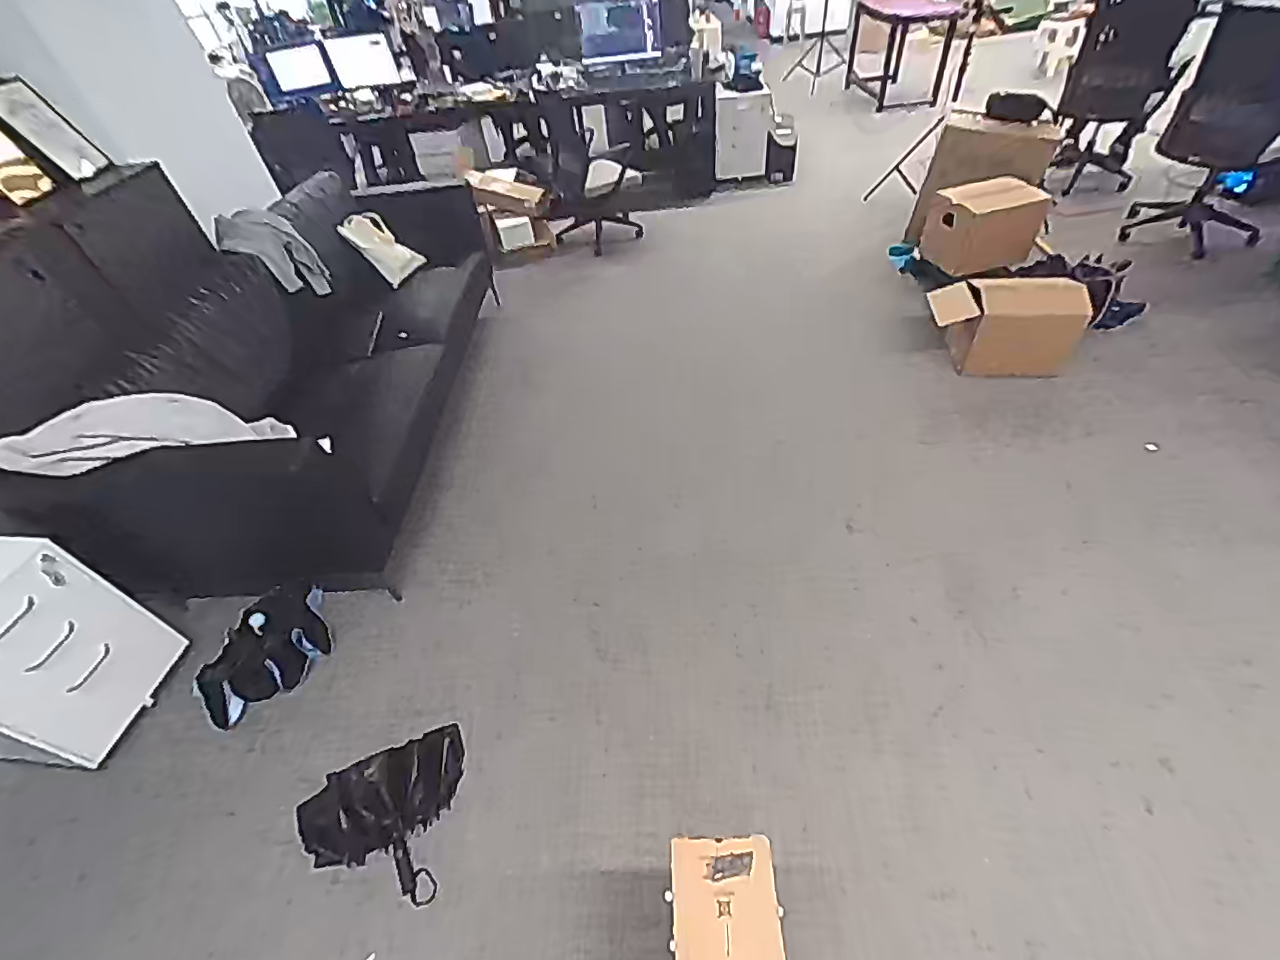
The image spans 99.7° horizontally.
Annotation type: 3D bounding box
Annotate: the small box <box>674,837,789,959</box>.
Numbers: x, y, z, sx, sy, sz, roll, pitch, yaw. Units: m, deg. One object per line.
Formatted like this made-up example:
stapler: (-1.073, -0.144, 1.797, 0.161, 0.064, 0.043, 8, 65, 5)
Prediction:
small box: (0.141, 0.709, 0.889, 0.168, 0.176, 0.179, -4, 46, 3)
